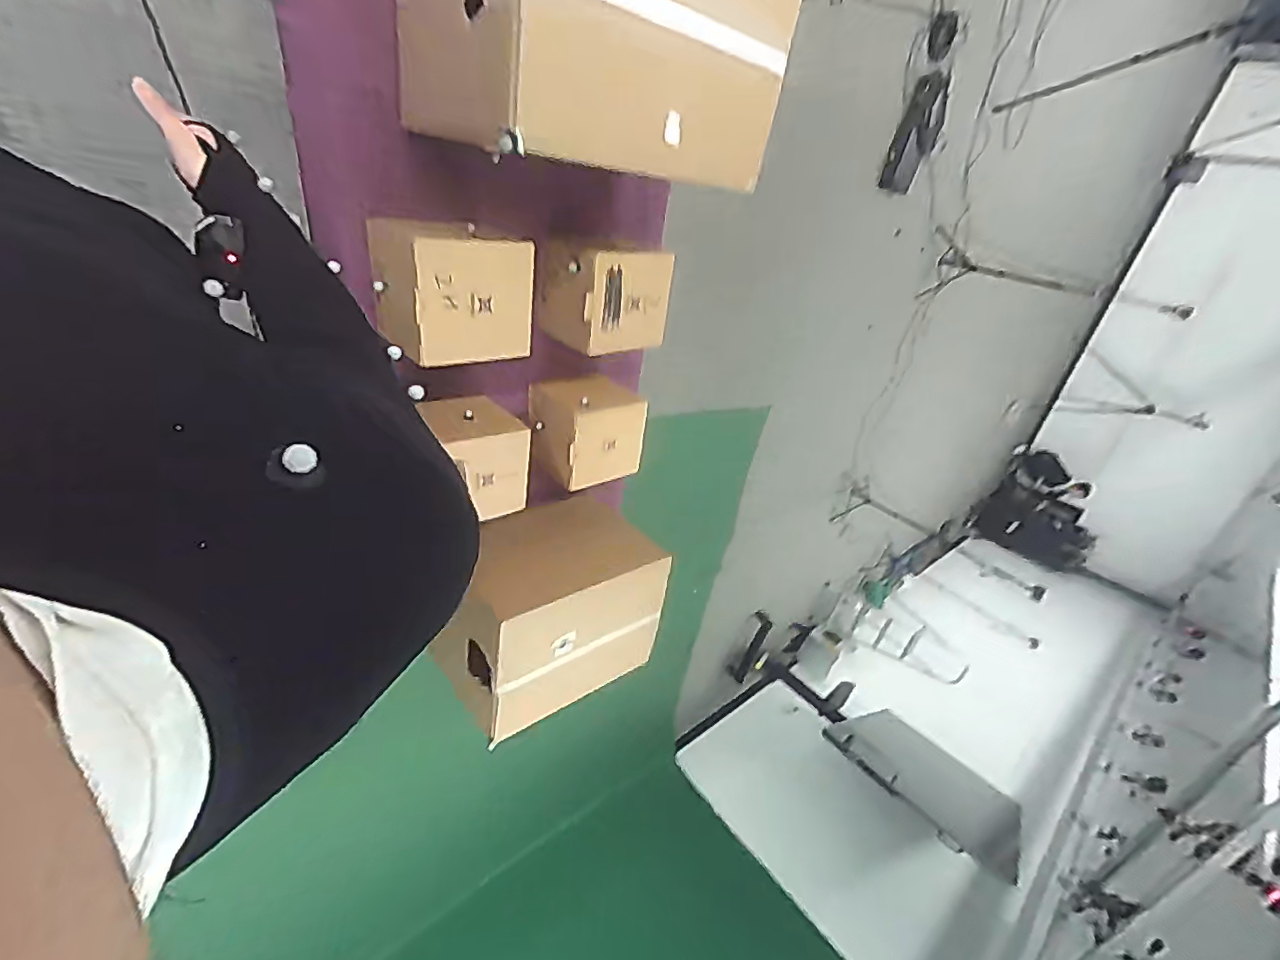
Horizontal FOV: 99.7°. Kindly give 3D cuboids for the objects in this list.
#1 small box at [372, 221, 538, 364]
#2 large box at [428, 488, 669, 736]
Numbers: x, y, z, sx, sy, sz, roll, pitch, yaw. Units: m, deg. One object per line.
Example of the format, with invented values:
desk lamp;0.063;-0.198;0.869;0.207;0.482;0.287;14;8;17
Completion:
small box;-0.275;-0.285;0.811;0.179;0.176;0.168;-18;128;-39
large box;-0.204;0.253;1.179;0.408;0.320;0.320;-14;126;-40
